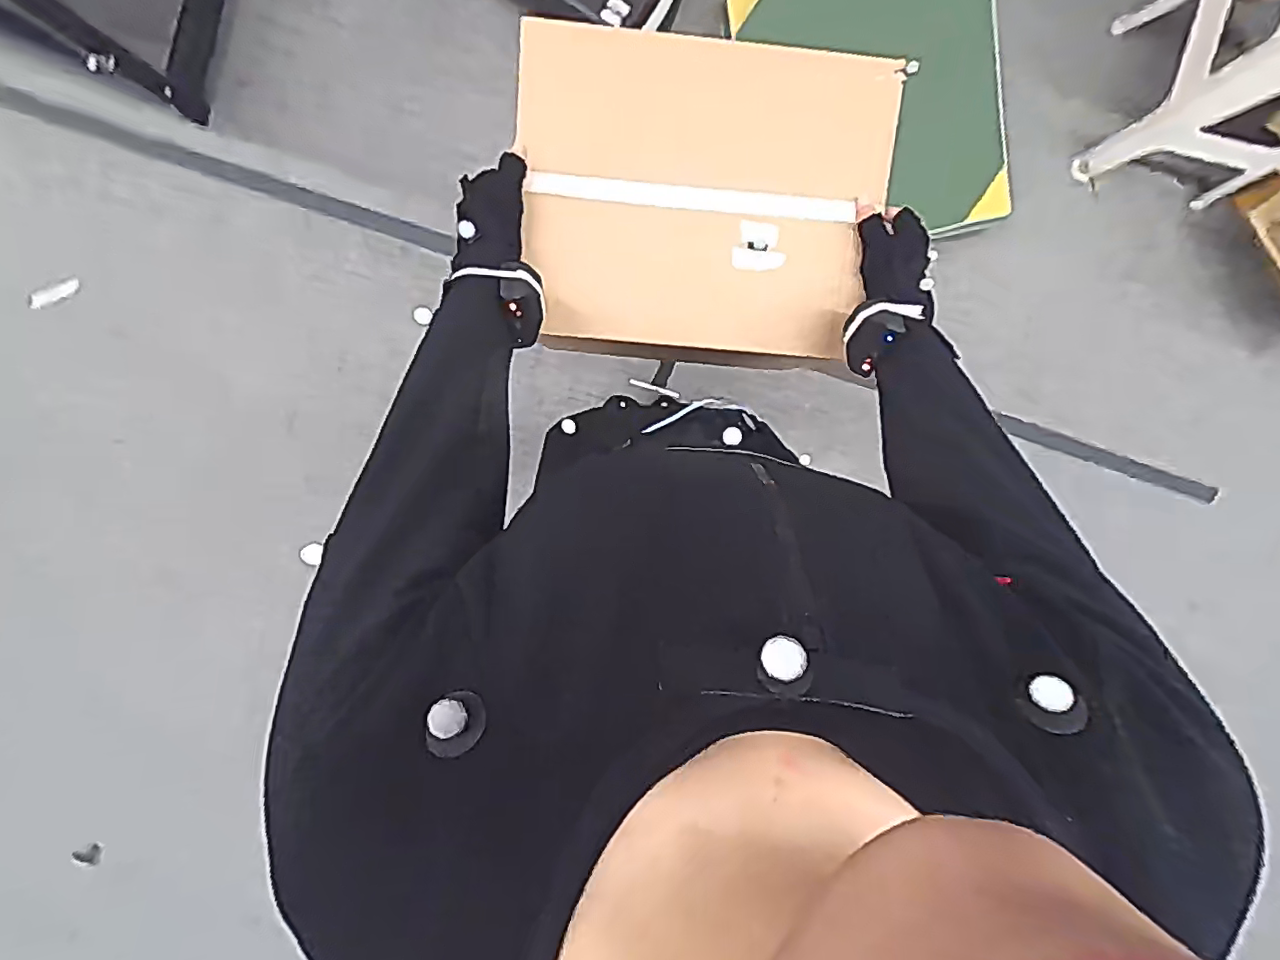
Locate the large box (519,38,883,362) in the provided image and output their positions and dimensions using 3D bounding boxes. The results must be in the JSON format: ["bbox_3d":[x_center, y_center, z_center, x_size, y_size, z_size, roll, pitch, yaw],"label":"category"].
[{"bbox_3d":[0.055,-0.337,0.756,0.408,0.320,0.320,3,100,-4],"label":"large box"}]
